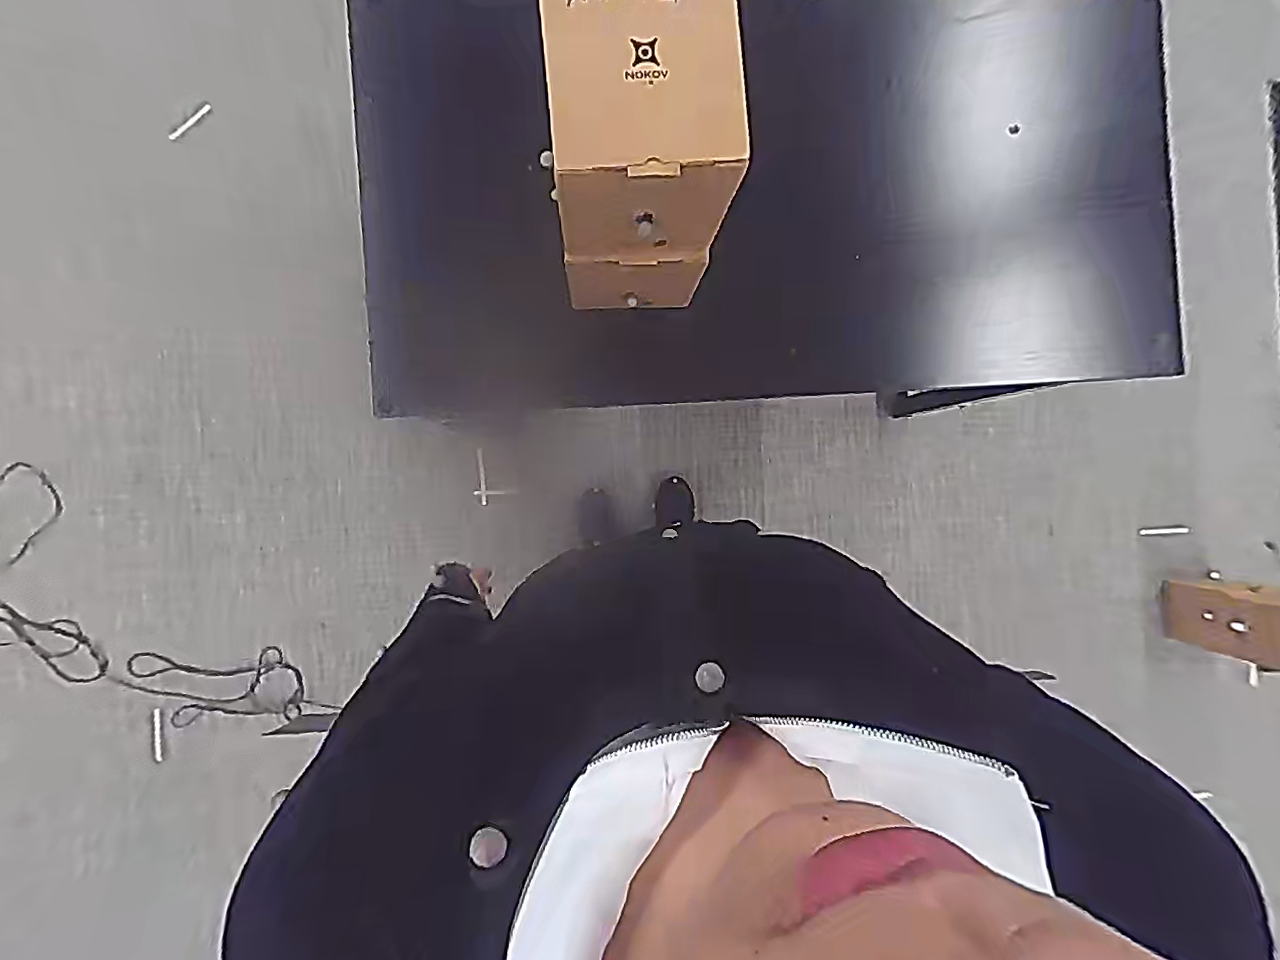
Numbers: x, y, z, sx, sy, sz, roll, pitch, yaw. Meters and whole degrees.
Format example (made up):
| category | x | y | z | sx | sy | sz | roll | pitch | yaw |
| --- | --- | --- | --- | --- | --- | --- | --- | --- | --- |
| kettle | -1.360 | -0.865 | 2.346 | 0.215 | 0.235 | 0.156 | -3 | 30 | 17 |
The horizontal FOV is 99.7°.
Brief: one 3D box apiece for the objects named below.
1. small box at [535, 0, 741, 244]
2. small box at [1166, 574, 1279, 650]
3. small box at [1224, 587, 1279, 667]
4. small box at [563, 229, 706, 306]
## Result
| category | x | y | z | sx | sy | sz | roll | pitch | yaw |
| --- | --- | --- | --- | --- | --- | --- | --- | --- | --- |
| small box | -0.005 | -0.346 | 0.529 | 0.168 | 0.176 | 0.179 | -5 | 91 | -4 |
| small box | 1.647 | 0.368 | 1.528 | 0.168 | 0.176 | 0.179 | -5 | 91 | -3 |
| small box | 1.654 | 0.373 | 1.366 | 0.179 | 0.176 | 0.168 | -7 | 89 | -2 |
| small box | -0.013 | -0.337 | 0.692 | 0.168 | 0.176 | 0.179 | -2 | 90 | -3 |
